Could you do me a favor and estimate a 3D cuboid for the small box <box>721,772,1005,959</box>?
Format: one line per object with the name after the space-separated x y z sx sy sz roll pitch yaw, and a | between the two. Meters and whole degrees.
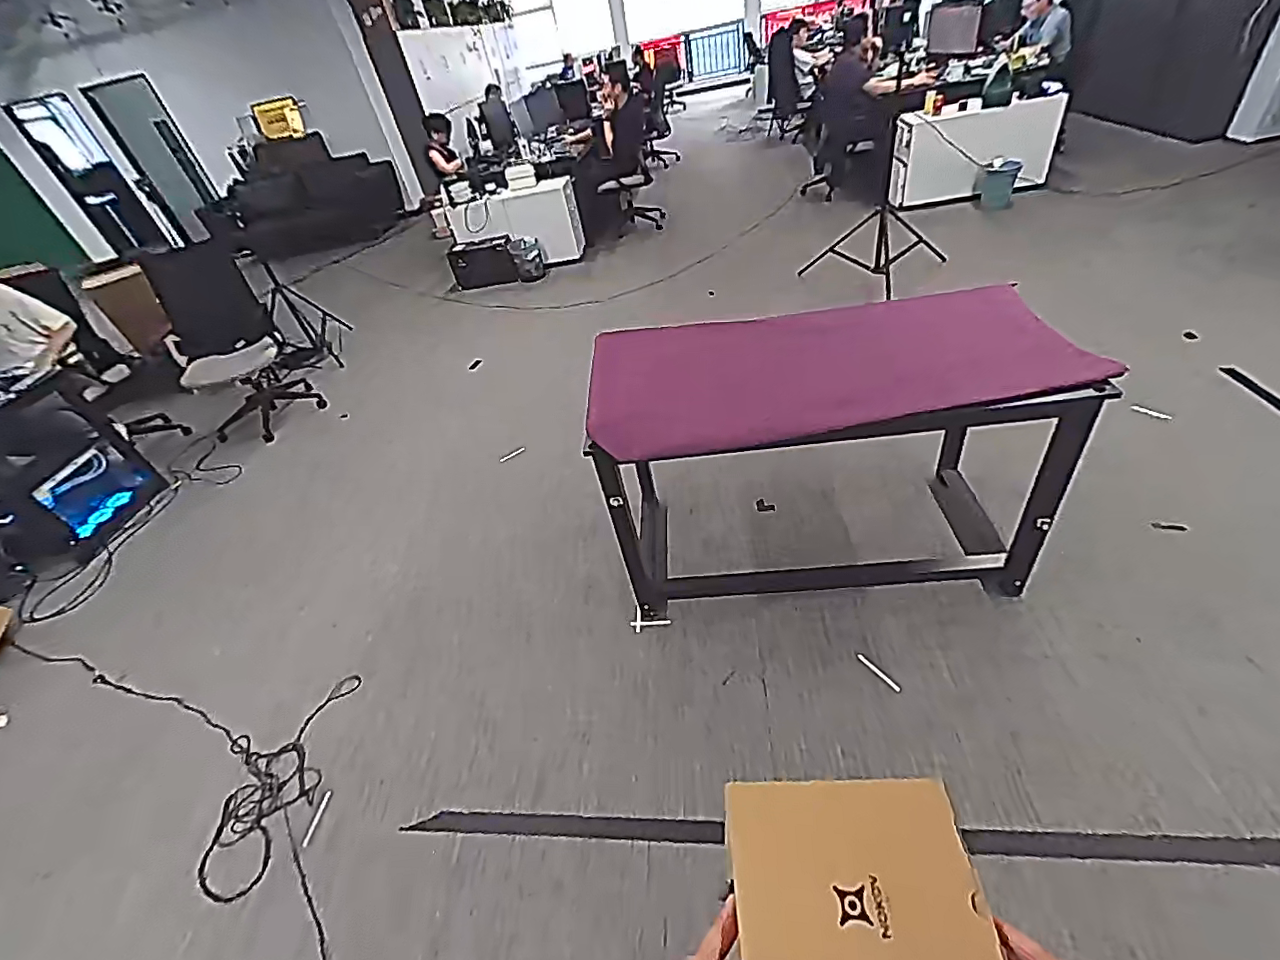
0.161 0.356 0.439 0.179 0.176 0.168 -4 43 4 | small box
